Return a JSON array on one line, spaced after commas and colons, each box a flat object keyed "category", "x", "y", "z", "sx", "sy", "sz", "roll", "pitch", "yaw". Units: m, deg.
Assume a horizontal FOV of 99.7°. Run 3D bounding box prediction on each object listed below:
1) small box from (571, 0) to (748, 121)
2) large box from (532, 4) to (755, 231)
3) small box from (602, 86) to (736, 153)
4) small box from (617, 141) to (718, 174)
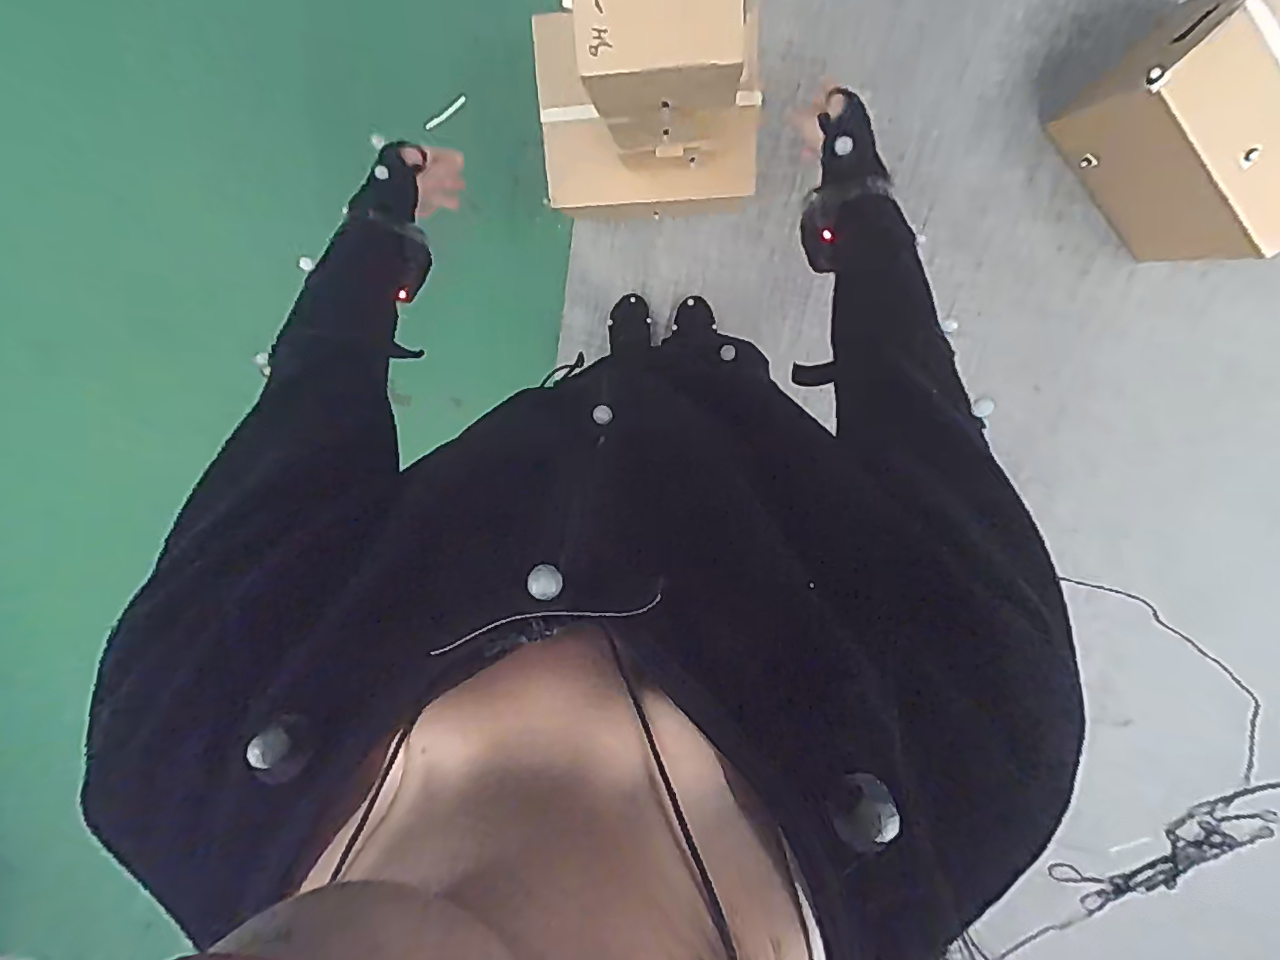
[{"category": "small box", "x": 0.022, "y": -0.519, "z": 0.600, "sx": 0.179, "sy": 0.176, "sz": 0.168, "roll": -1, "pitch": 109, "yaw": 4}, {"category": "large box", "x": 0.027, "y": -0.719, "z": 1.138, "sx": 0.408, "sy": 0.320, "sz": 0.320, "roll": -1, "pitch": 108, "yaw": 7}, {"category": "small box", "x": 0.038, "y": -0.573, "z": 0.755, "sx": 0.179, "sy": 0.176, "sz": 0.168, "roll": -2, "pitch": 110, "yaw": 6}, {"category": "small box", "x": 0.049, "y": -0.625, "z": 0.910, "sx": 0.168, "sy": 0.176, "sz": 0.179, "roll": -1, "pitch": 110, "yaw": 5}]
